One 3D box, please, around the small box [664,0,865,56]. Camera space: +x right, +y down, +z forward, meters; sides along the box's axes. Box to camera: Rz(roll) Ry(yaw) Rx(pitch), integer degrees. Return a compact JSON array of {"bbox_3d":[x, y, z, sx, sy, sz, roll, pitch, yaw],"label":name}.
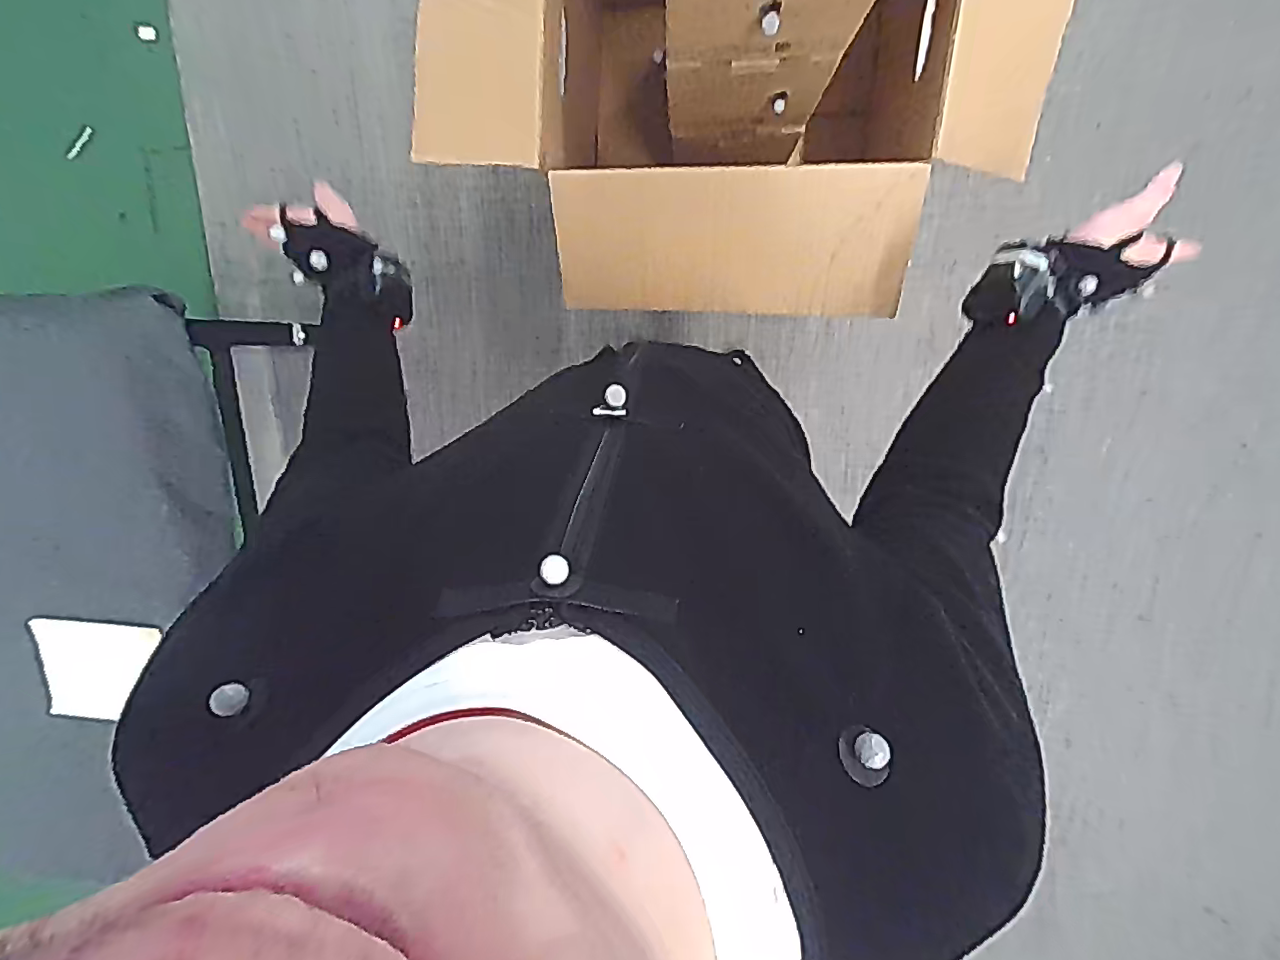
[{"bbox_3d":[0.100,-0.455,0.409,0.168,0.176,0.179,-1,104,3],"label":"small box"}]
